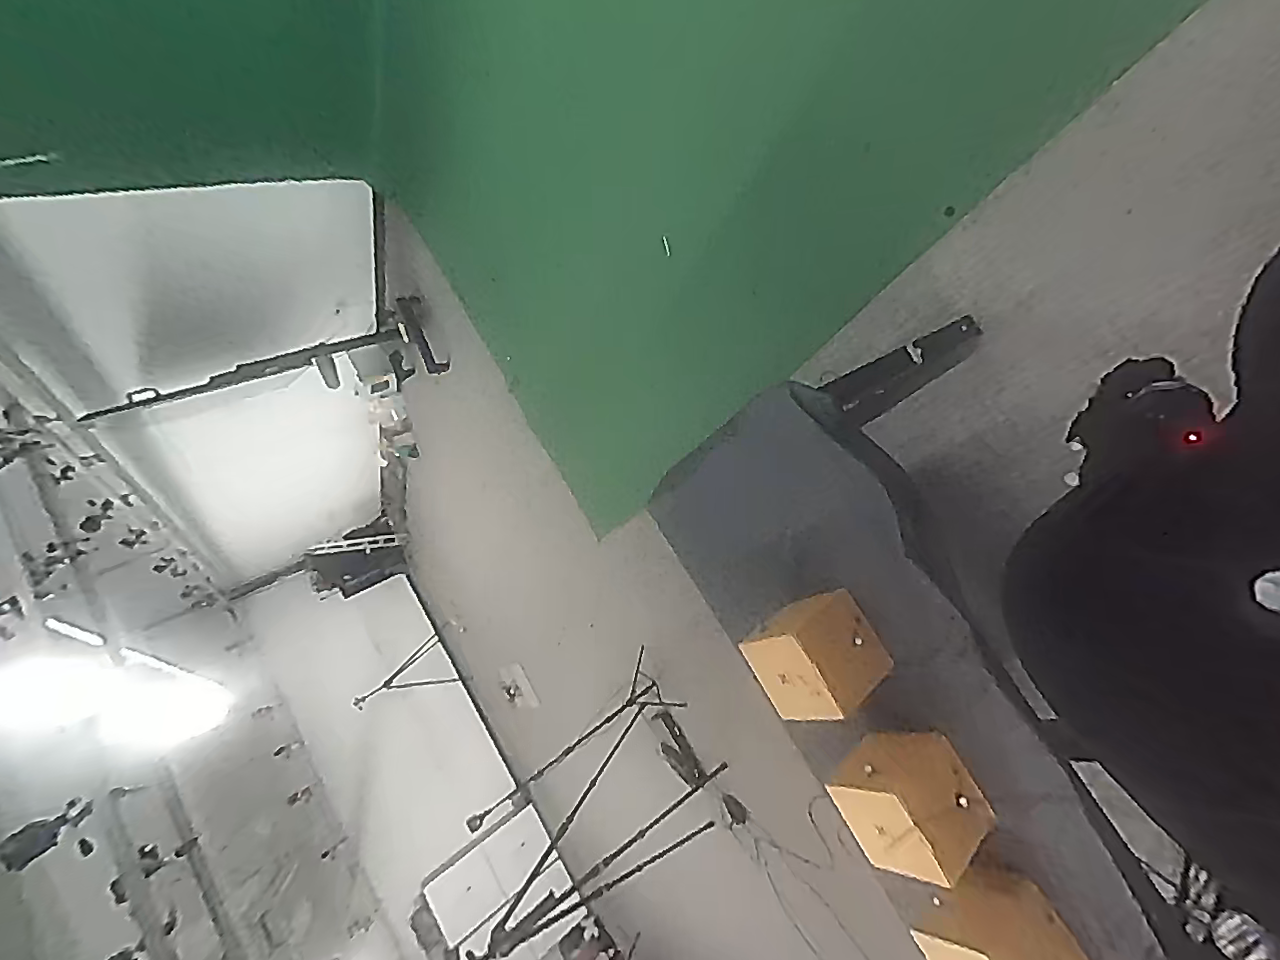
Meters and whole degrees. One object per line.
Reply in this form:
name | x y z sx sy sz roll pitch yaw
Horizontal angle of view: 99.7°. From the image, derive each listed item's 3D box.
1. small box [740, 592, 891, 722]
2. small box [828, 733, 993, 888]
small box | 0.333 0.337 1.030 0.168 0.176 0.179 58 146 7
small box | 0.491 0.586 0.987 0.168 0.176 0.179 59 146 8
